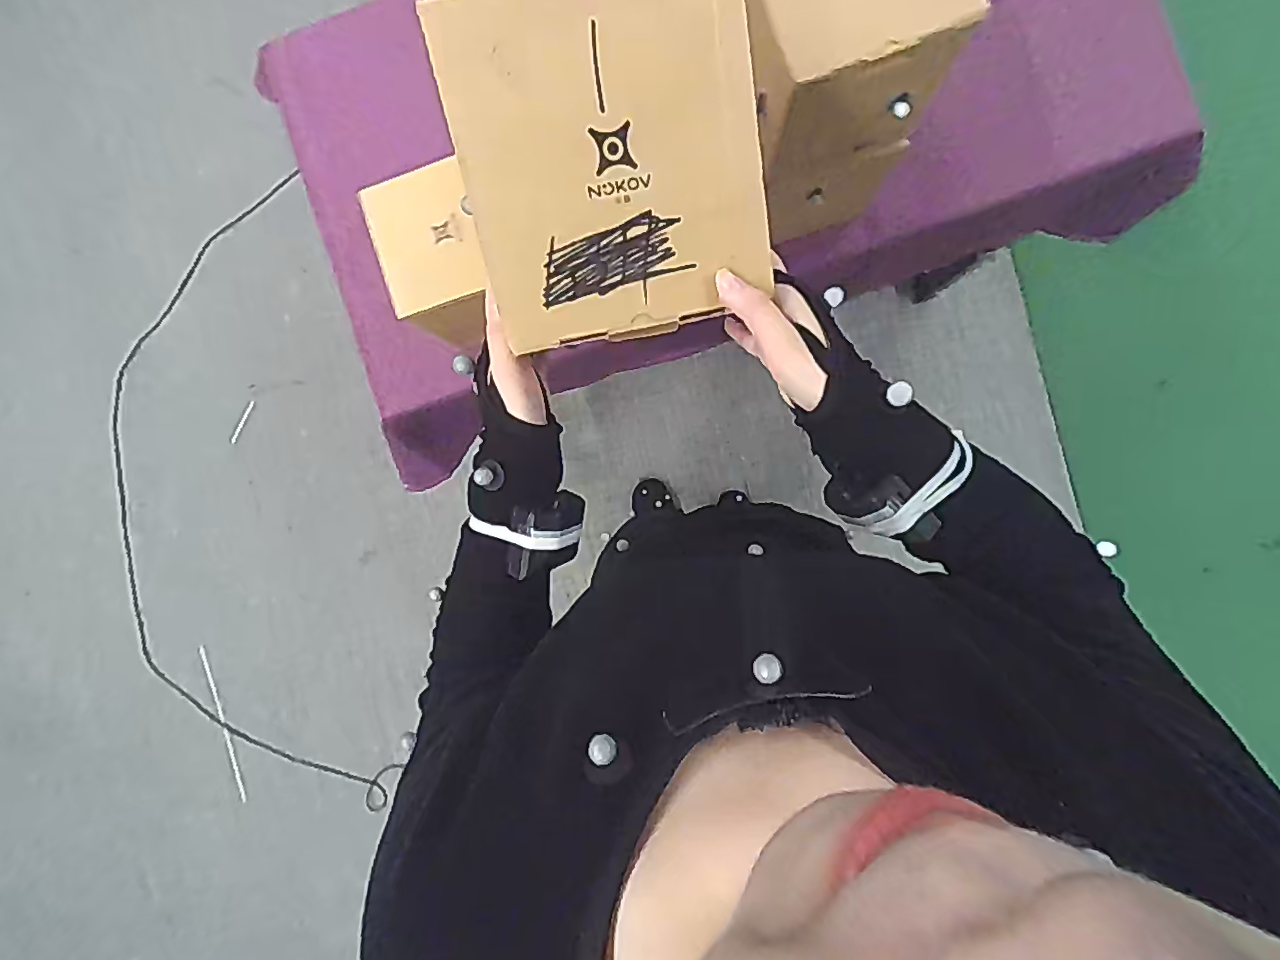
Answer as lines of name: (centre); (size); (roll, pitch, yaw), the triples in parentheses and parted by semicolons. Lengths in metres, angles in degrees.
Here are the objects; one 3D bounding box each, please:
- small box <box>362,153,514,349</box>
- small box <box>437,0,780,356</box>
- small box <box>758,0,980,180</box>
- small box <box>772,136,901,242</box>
small box: (-0.225, -0.292, 0.723); (0.179, 0.176, 0.168); (-18, 89, 3)
small box: (-0.015, -0.196, 0.374); (0.168, 0.176, 0.179); (-12, 109, -2)
small box: (0.181, -0.427, 0.525); (0.168, 0.176, 0.179); (-19, 88, 4)
small box: (0.194, -0.422, 0.688); (0.179, 0.176, 0.168); (-16, 90, 4)
